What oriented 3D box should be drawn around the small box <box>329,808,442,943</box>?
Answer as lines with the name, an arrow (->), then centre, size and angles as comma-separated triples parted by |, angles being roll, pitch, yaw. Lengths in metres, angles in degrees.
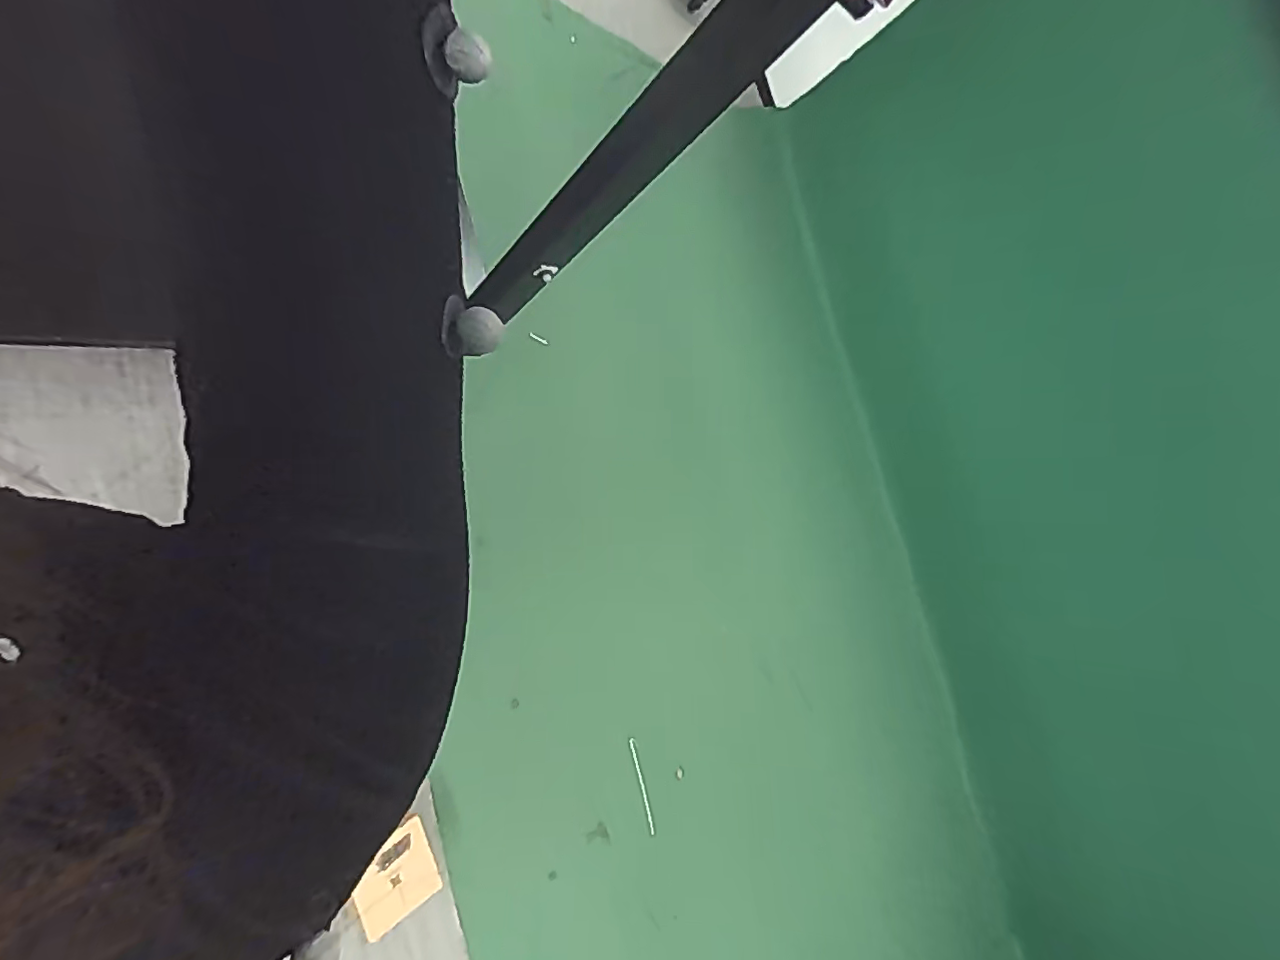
small box -> -0.585, 0.883, 1.235 | 0.168, 0.176, 0.179 | -19, 91, -43
